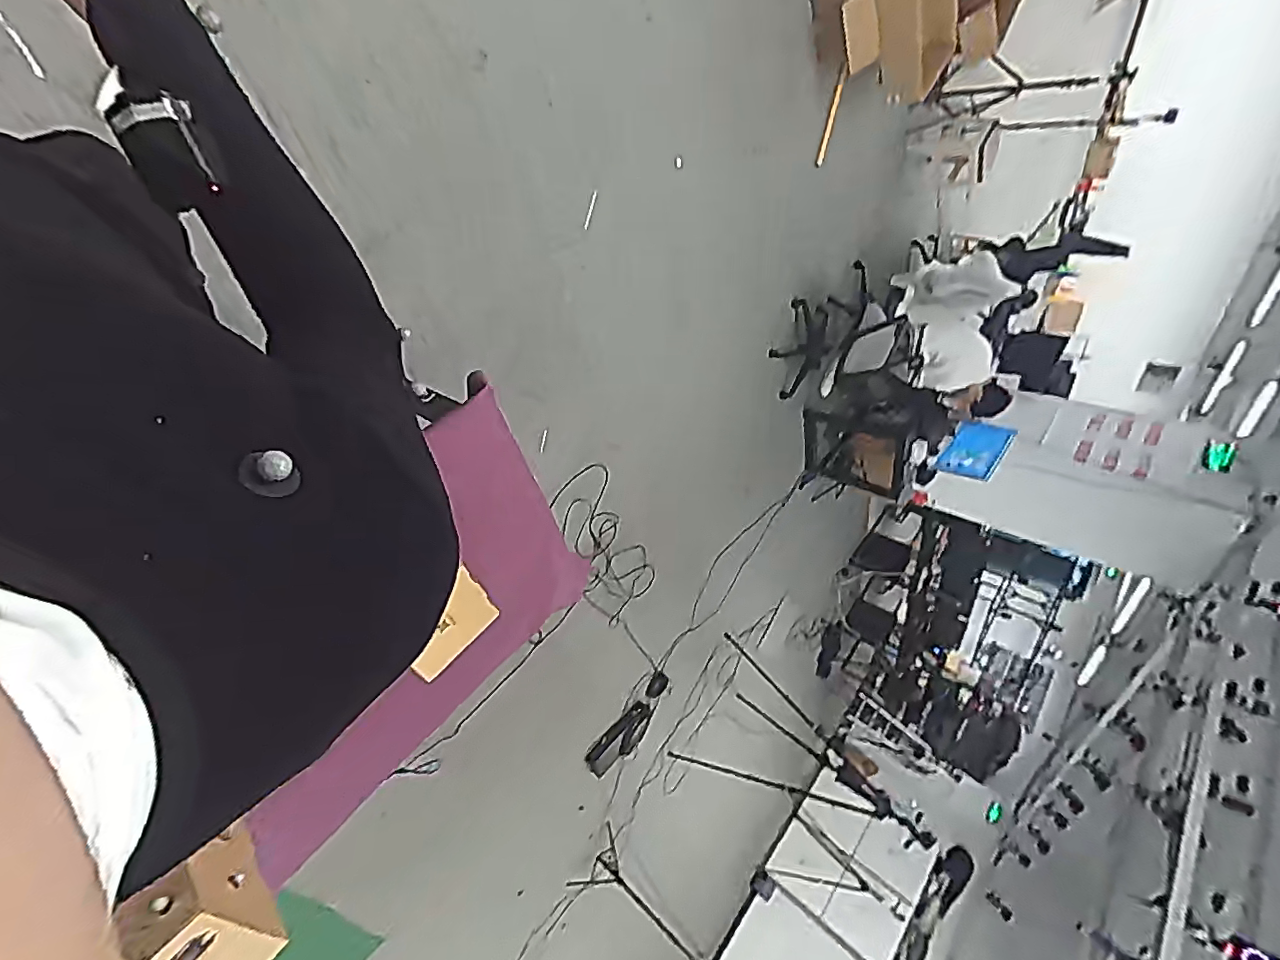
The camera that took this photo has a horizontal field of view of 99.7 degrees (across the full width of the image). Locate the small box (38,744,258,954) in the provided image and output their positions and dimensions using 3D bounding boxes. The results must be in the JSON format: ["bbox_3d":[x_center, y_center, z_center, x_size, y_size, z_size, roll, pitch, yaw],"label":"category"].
[{"bbox_3d":[-0.730,0.539,0.807,0.179,0.176,0.168,-41,137,-29],"label":"small box"}]

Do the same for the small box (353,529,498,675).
[{"bbox_3d":[-0.413,0.225,1.030,0.179,0.176,0.168,-46,138,-26],"label":"small box"}]
